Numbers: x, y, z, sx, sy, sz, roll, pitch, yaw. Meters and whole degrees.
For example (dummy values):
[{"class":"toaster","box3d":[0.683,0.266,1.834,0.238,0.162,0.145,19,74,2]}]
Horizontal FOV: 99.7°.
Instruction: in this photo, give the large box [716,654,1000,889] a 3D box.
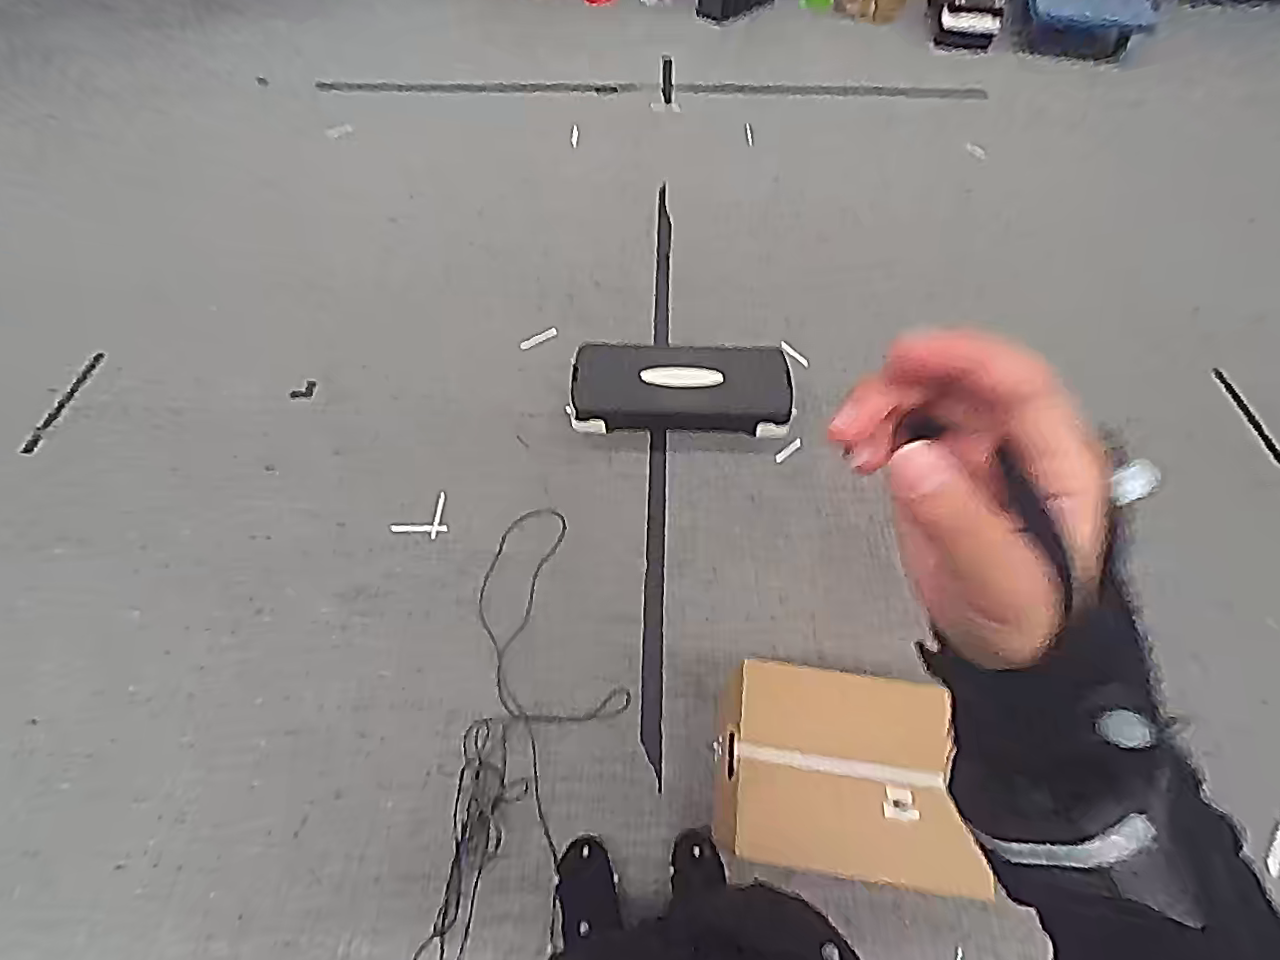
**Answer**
[{"class":"large box","box3d":[0.369,0.549,1.037,0.408,0.320,0.320,8,60,3]}]
